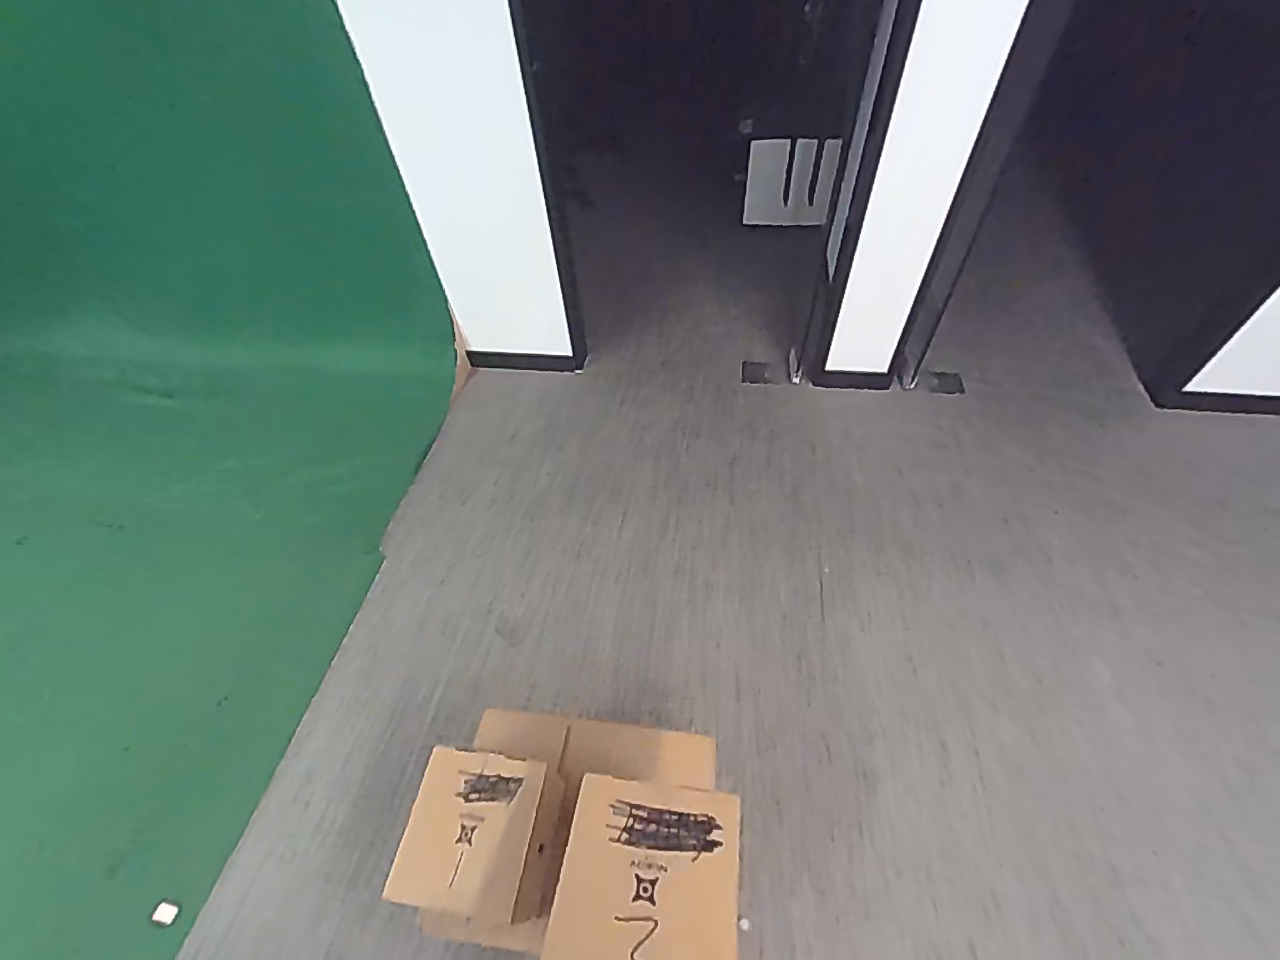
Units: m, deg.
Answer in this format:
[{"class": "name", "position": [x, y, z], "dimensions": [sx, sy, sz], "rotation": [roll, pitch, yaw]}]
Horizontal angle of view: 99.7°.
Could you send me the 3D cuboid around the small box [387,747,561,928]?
[{"class": "small box", "position": [-0.216, 0.501, 0.764], "dimensions": [0.168, 0.176, 0.179], "rotation": [6, 54, 8]}]
